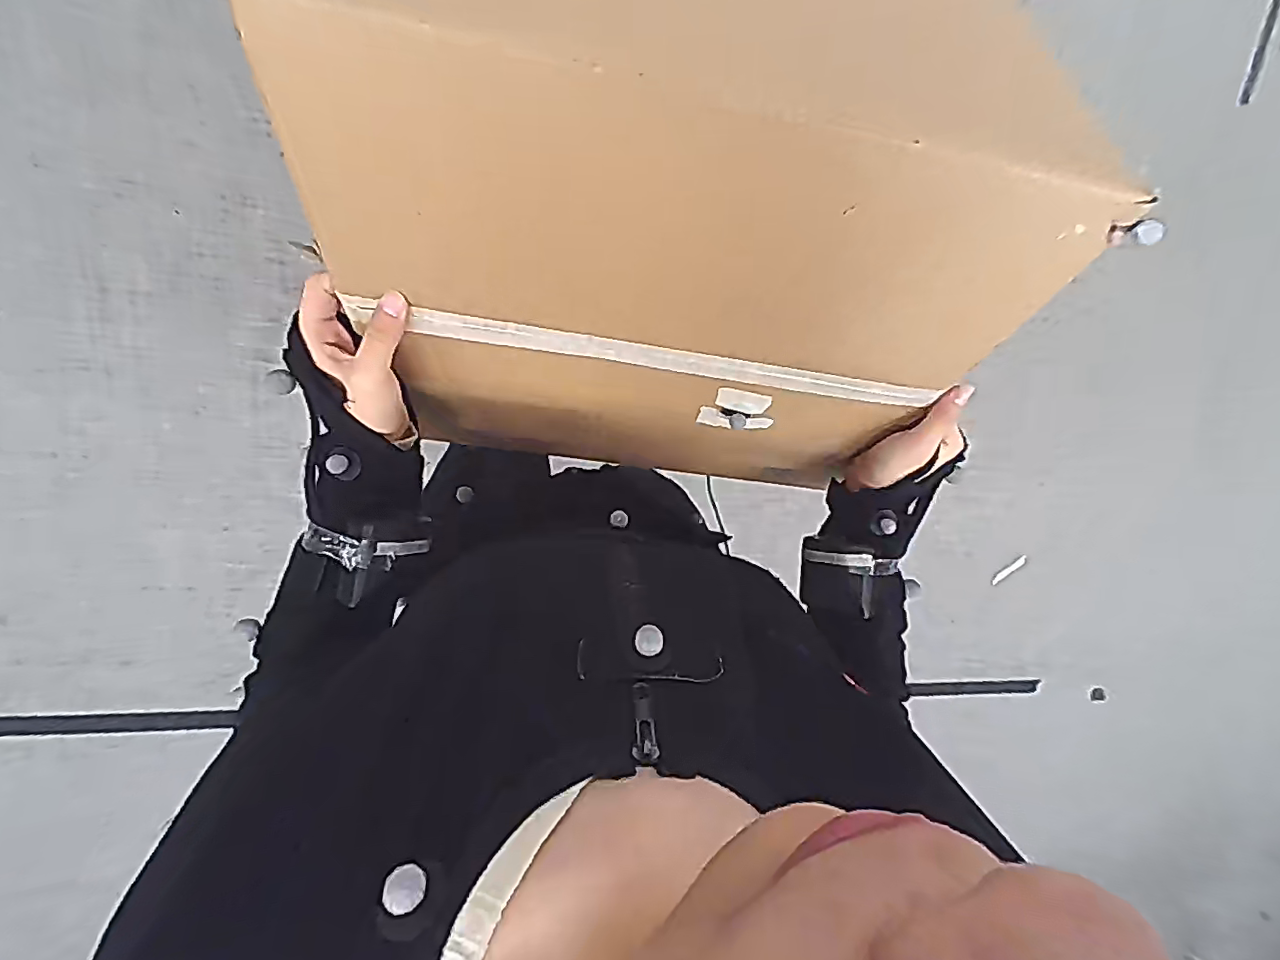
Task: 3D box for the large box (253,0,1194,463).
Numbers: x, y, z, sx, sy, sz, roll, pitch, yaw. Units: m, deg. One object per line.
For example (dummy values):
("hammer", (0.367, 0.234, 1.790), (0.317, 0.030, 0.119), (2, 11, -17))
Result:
("large box", (0.026, -0.236, 0.411), (0.408, 0.320, 0.320), (6, 62, -9))
